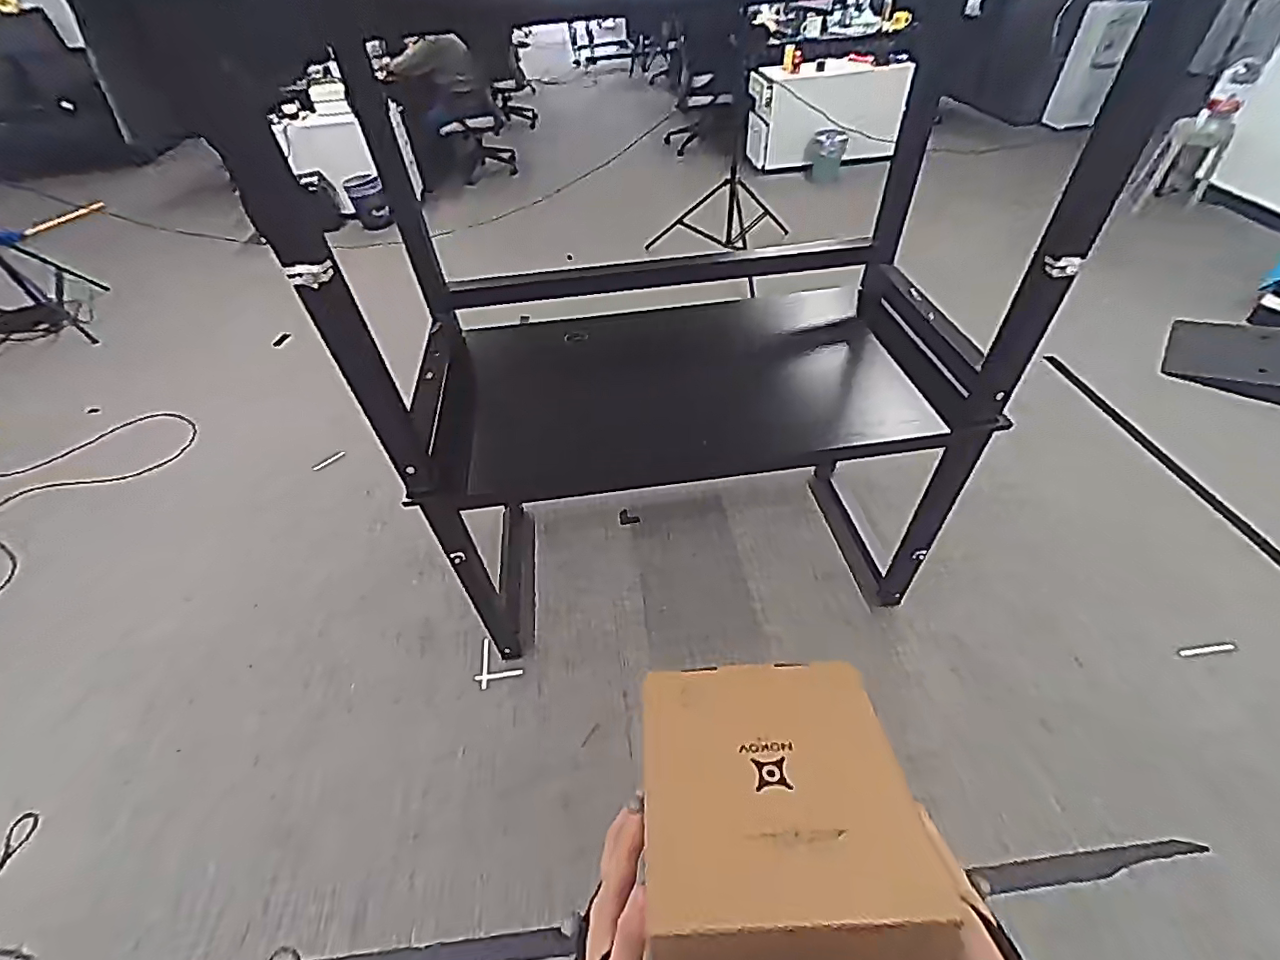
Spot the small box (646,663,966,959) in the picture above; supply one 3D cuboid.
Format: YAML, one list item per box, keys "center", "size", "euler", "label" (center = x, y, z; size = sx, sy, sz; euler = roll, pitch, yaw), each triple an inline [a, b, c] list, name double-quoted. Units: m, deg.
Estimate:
- center: [0.090, 0.259, 0.387]
  size: [0.168, 0.176, 0.179]
  euler: [-4, 28, 2]
  label: "small box"
